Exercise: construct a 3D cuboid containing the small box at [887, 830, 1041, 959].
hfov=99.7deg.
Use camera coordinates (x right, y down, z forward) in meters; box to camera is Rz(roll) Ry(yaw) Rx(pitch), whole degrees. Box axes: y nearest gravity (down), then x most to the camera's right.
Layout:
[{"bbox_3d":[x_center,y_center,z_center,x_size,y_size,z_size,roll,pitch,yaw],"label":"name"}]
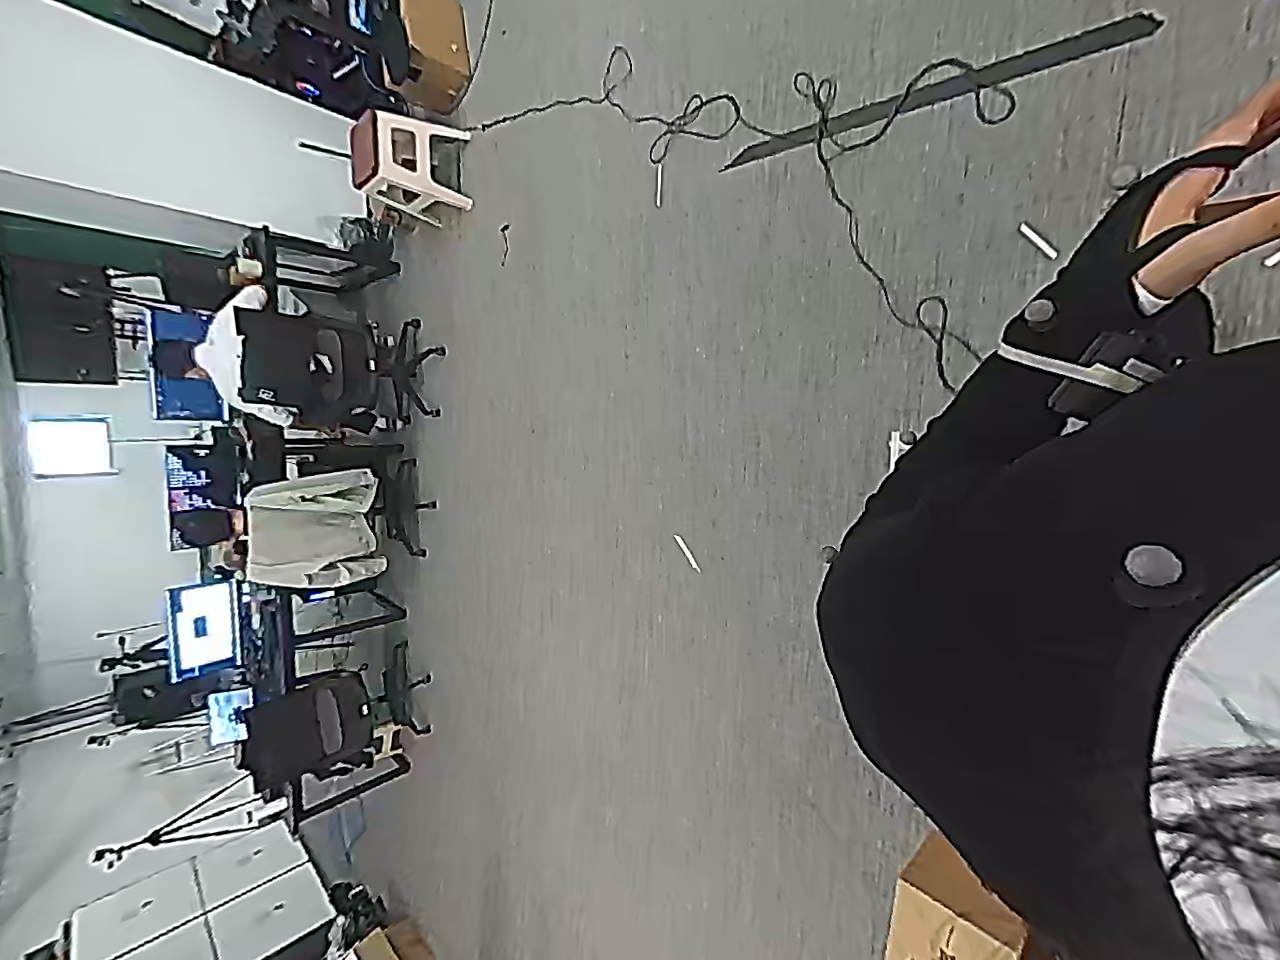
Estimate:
[{"bbox_3d":[0.527,0.728,0.879,0.168,0.176,0.179,12,100,45],"label":"small box"}]
